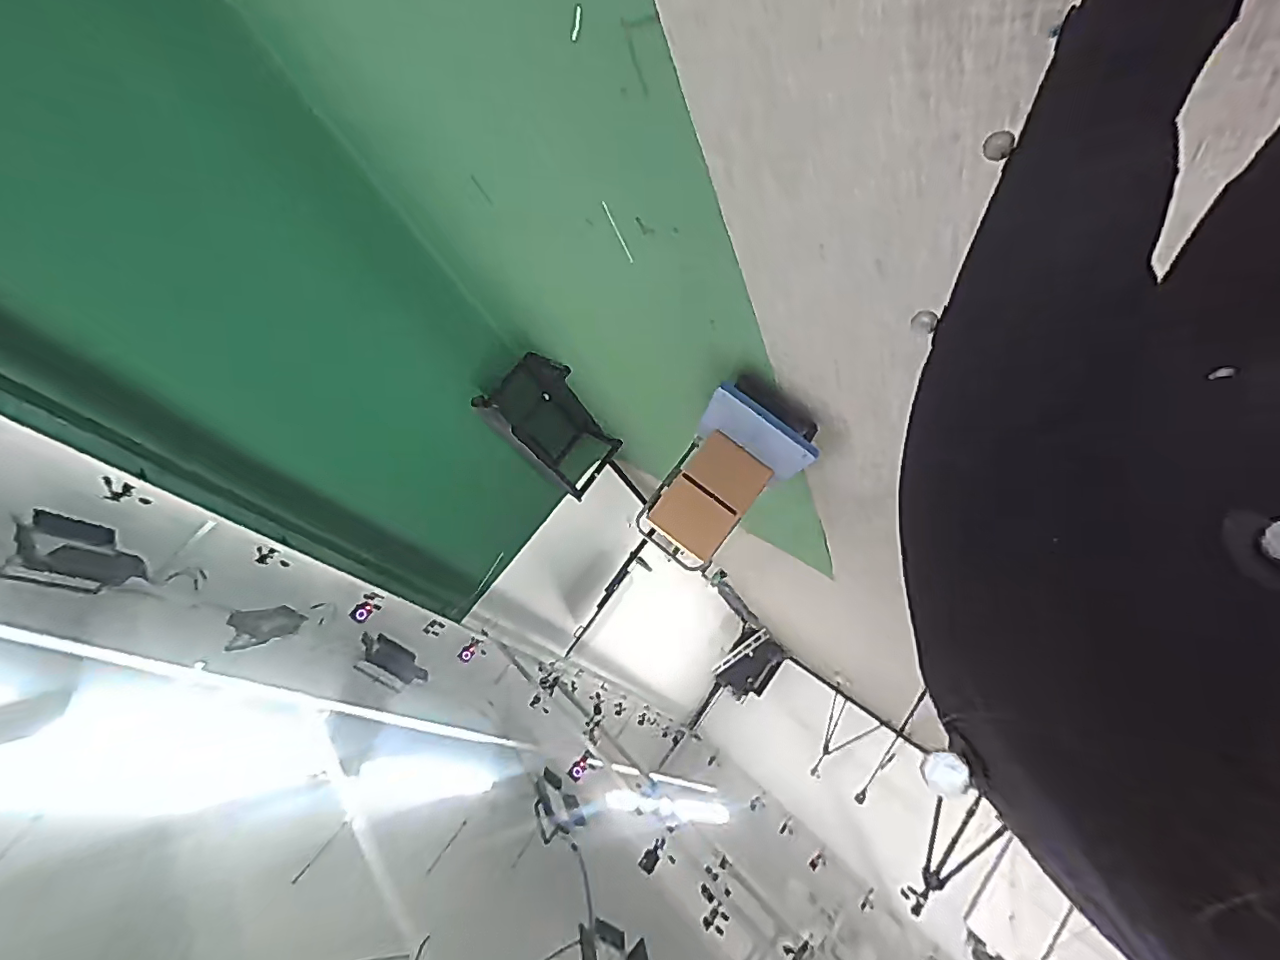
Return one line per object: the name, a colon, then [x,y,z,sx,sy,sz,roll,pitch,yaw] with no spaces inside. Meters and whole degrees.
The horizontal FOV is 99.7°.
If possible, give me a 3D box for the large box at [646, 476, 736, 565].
large box: [0.285,0.234,3.045,0.408,0.320,0.320,38,174,7]
